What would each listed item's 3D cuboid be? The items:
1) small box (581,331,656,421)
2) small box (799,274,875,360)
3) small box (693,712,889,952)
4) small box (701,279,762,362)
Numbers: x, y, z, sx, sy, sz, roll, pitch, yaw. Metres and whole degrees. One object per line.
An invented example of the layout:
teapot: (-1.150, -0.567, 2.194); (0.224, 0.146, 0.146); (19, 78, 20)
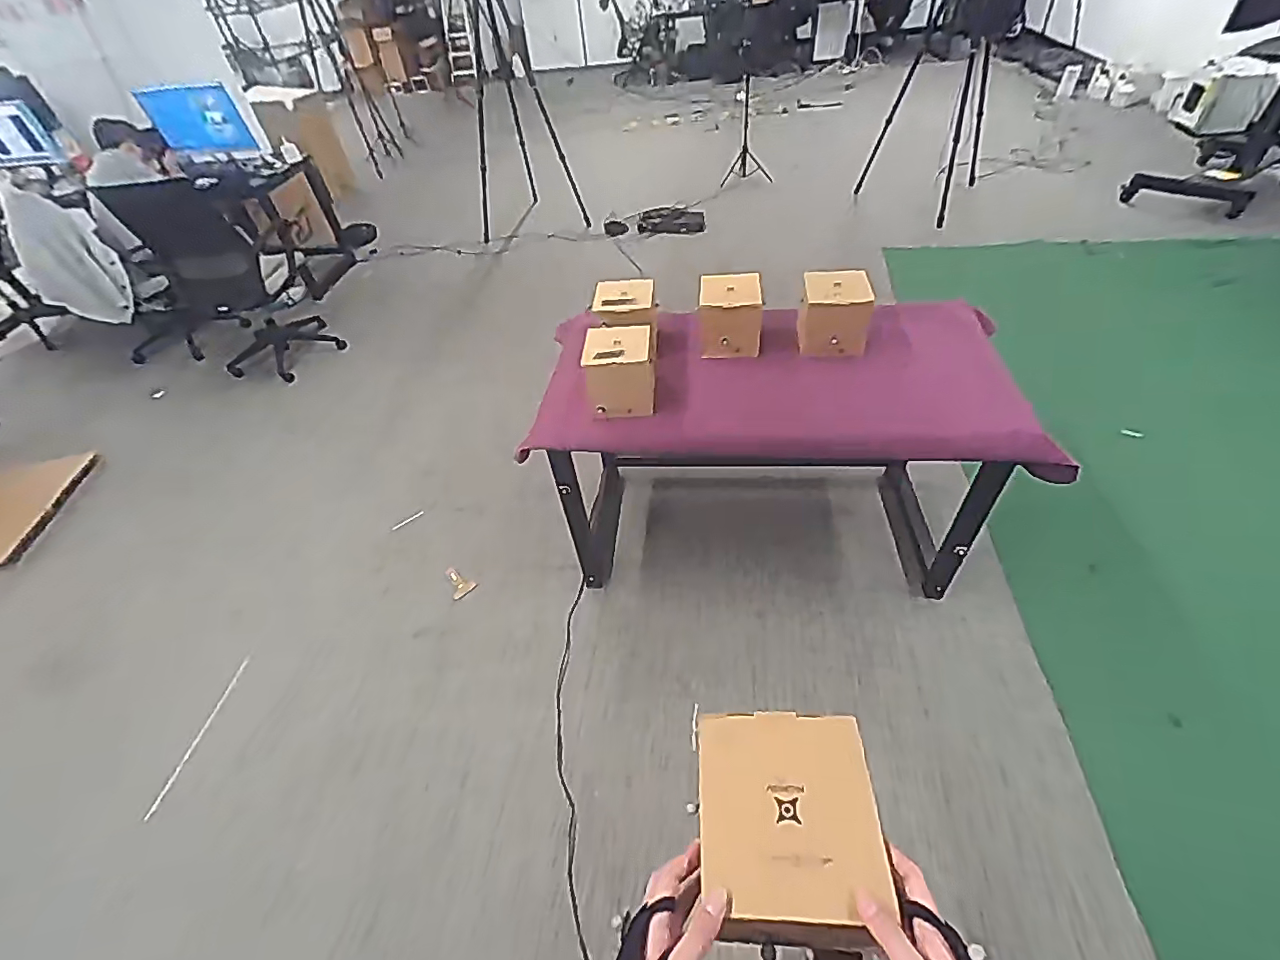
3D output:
small box: (-0.048, -0.266, 1.410); (0.168, 0.176, 0.179); (-2, 44, 6)
small box: (0.537, -0.451, 1.502); (0.168, 0.176, 0.179); (0, 47, 10)
small box: (0.141, 0.368, 0.571); (0.168, 0.176, 0.179); (-2, 44, 7)
small box: (0.260, -0.457, 1.554); (0.168, 0.176, 0.179); (0, 47, 8)
